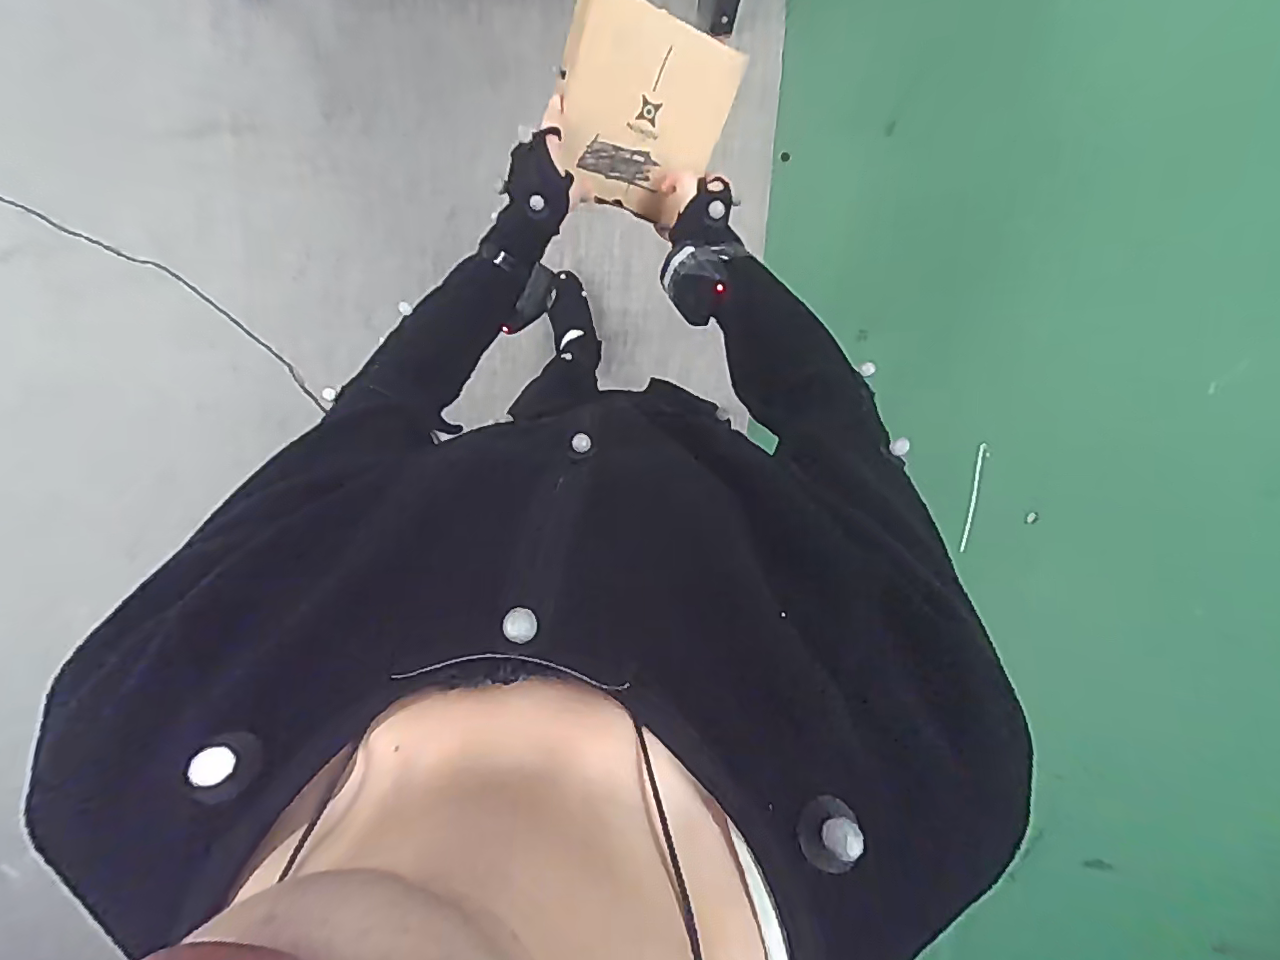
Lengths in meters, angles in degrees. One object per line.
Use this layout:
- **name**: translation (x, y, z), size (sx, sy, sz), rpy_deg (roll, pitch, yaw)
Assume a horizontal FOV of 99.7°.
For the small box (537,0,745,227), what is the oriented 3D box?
- **small box**: translation (-0.014, -0.421, 0.609), size (0.168, 0.176, 0.179), rpy_deg (12, 123, -23)
